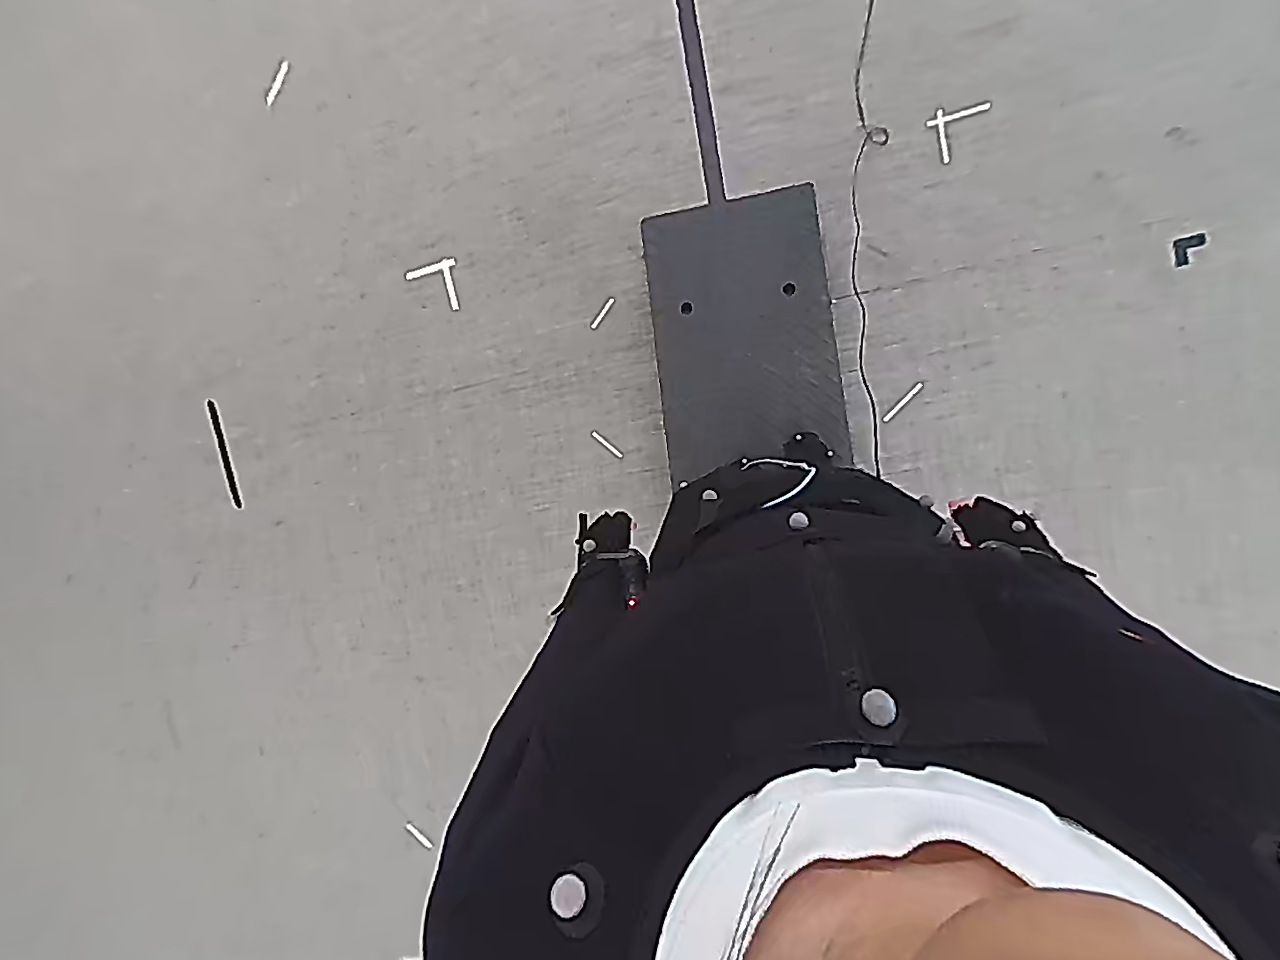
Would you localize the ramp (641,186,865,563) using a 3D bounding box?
[{"bbox_3d":[0.290,-0.292,1.496,0.509,0.206,0.991,-9,94,12],"label":"ramp"}]
